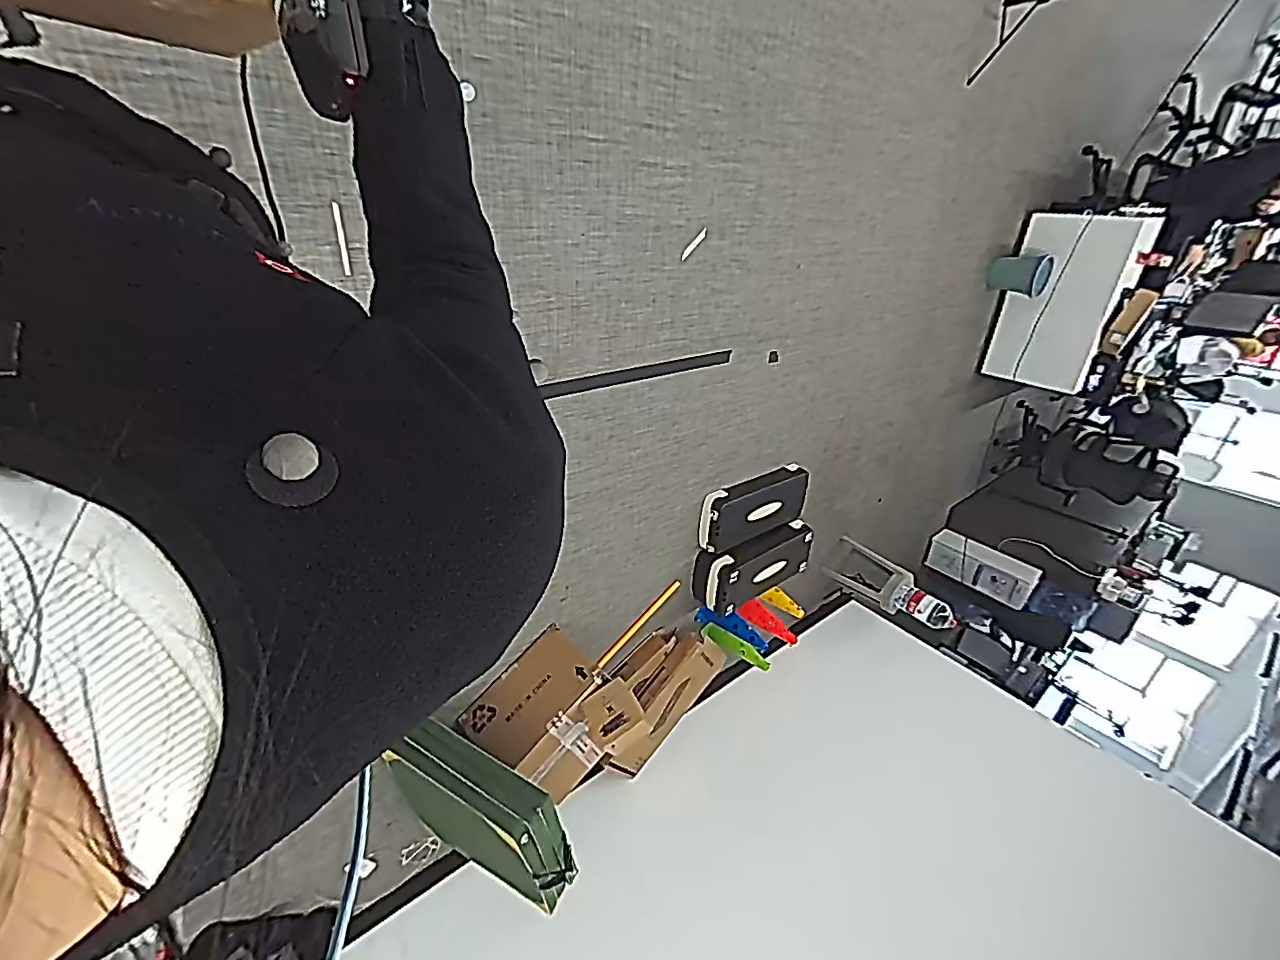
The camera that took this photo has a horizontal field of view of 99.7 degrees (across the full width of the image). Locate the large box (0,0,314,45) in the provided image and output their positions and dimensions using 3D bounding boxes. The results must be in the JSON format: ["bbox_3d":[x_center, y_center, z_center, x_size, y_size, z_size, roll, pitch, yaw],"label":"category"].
[{"bbox_3d":[-0.449,-0.465,0.265,0.408,0.320,0.320,-18,128,-40],"label":"large box"}]
